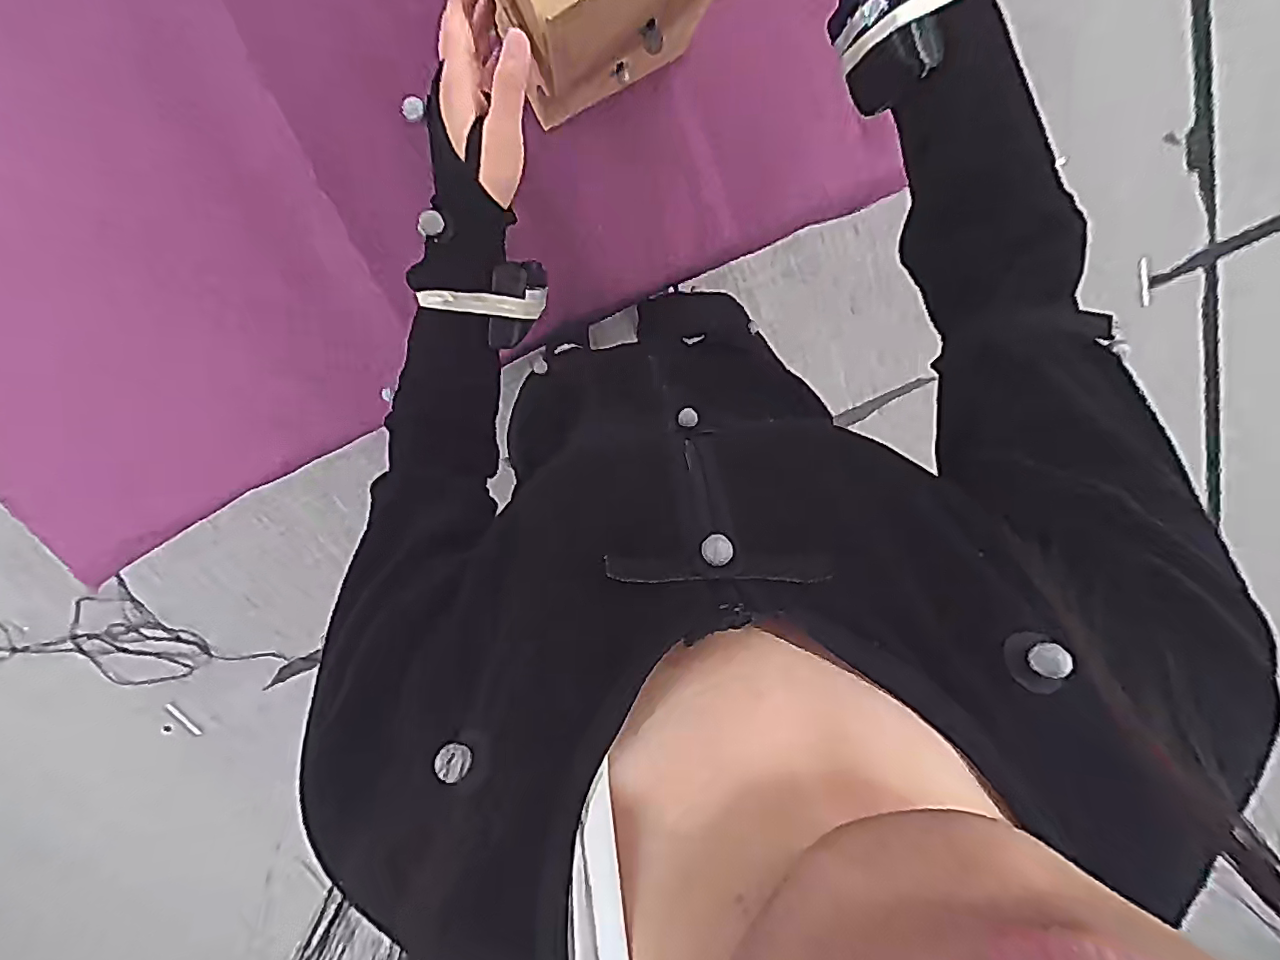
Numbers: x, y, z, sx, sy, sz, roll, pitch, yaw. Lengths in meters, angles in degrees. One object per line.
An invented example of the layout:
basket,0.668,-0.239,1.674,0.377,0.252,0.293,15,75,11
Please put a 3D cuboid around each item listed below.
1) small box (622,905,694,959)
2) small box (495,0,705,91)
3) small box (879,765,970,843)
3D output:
small box,0.051,1.535,1.761,0.168,0.176,0.179,24,107,-16
small box,-0.029,-0.396,0.343,0.179,0.176,0.168,-29,112,3
small box,0.954,1.097,1.822,0.179,0.176,0.168,20,106,-15
